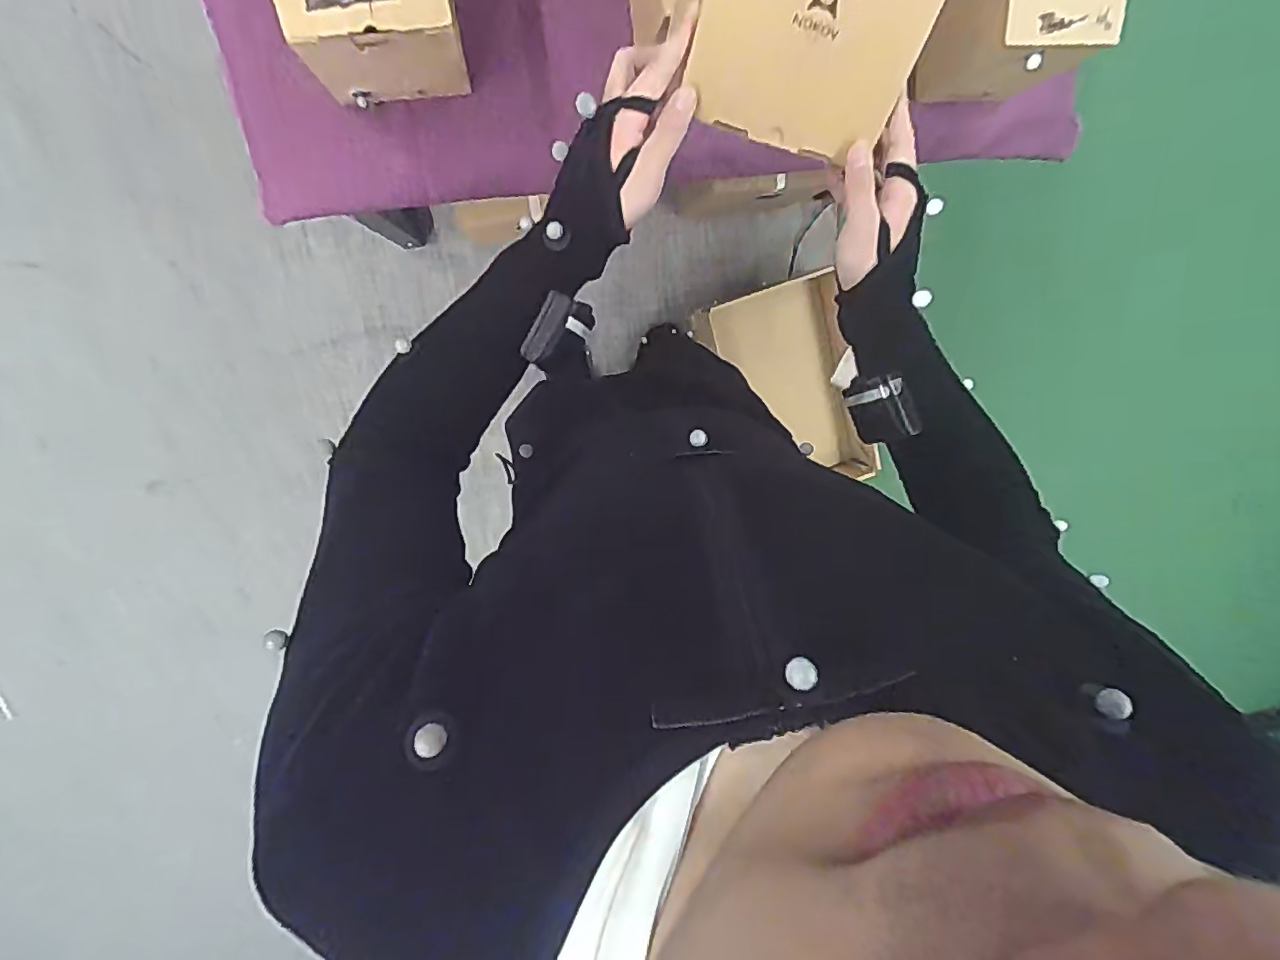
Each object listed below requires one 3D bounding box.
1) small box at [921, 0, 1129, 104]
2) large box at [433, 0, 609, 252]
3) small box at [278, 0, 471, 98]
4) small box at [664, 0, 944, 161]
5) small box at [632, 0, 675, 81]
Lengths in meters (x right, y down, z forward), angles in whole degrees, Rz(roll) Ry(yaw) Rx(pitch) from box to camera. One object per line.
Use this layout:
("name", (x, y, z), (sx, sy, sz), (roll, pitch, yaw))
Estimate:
("small box", (0.502, -0.637, 0.720), (0.168, 0.176, 0.179), (-7, 104, -7))
("large box", (-0.273, -0.776, 1.234), (0.320, 0.320, 0.408), (-12, 106, -8))
("small box", (-0.292, -0.548, 0.594), (0.168, 0.176, 0.179), (-11, 106, -8))
("small box", (0.122, -0.388, 0.428), (0.168, 0.176, 0.179), (9, 132, -13))
("small box", (0.082, -0.620, 0.647), (0.168, 0.176, 0.179), (-10, 107, -7))
